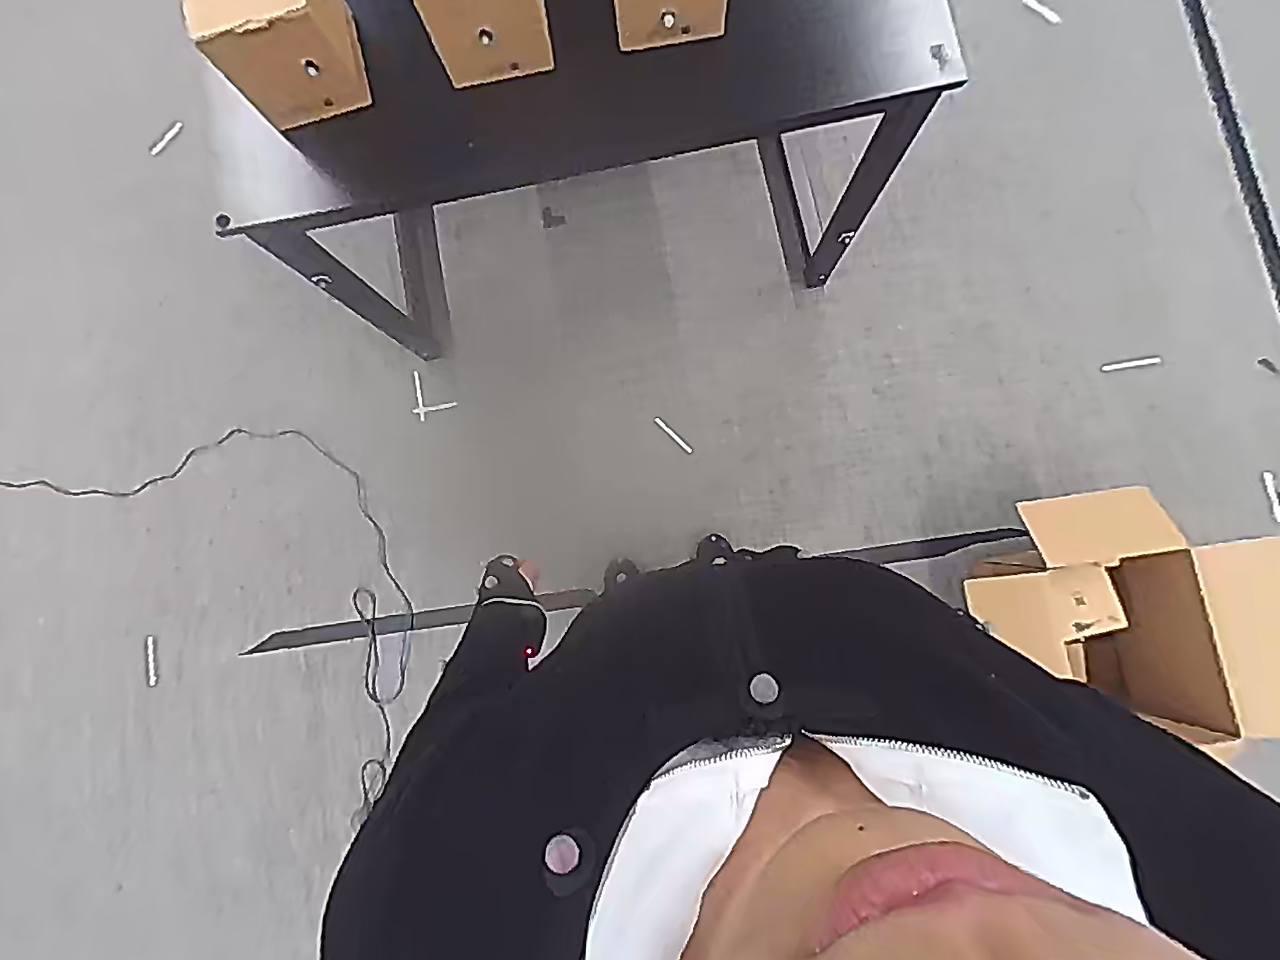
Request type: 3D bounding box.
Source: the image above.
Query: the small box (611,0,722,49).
[{"bbox_3d":[0.031,-0.786,0.786,0.168,0.176,0.179,-7,85,3],"label":"small box"}]

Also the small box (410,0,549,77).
[{"bbox_3d":[-0.239,-0.736,0.795,0.168,0.176,0.179,-9,84,1],"label":"small box"}]

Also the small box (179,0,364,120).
[{"bbox_3d":[-0.541,-0.678,0.806,0.168,0.176,0.179,-15,83,0],"label":"small box"}]
